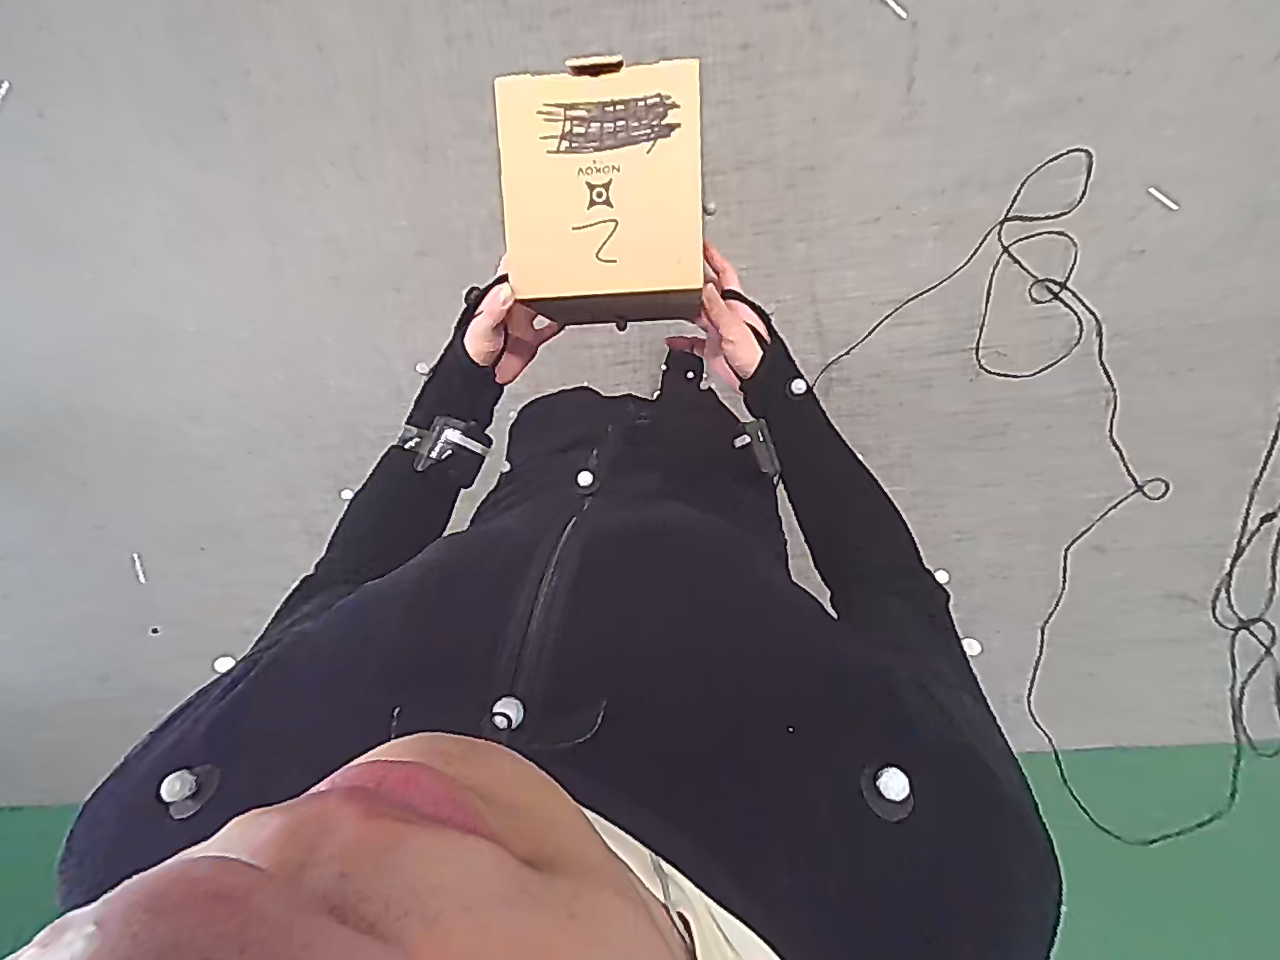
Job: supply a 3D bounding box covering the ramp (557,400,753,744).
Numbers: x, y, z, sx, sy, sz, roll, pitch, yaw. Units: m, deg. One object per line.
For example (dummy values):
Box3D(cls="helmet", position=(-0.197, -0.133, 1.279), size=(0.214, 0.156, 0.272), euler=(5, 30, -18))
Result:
Box3D(cls="ramp", position=(0.041, 0.286, 1.612), size=(0.509, 0.206, 0.991), euler=(-7, 102, 7))
